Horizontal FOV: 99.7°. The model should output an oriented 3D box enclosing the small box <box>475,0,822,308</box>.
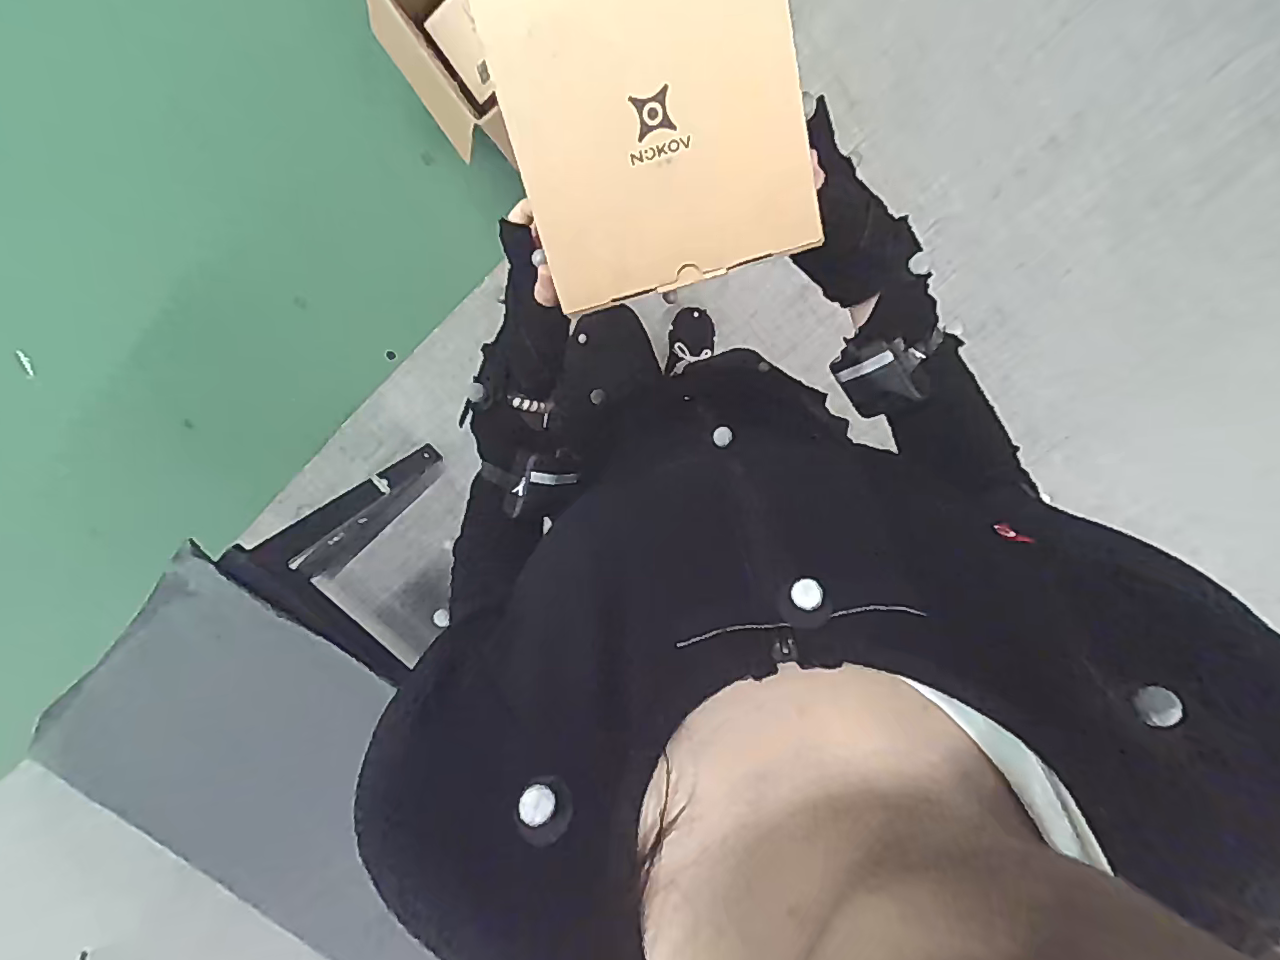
[{"bbox_3d":[0.010,-0.231,0.379,0.168,0.176,0.179,-14,110,6],"label":"small box"}]
